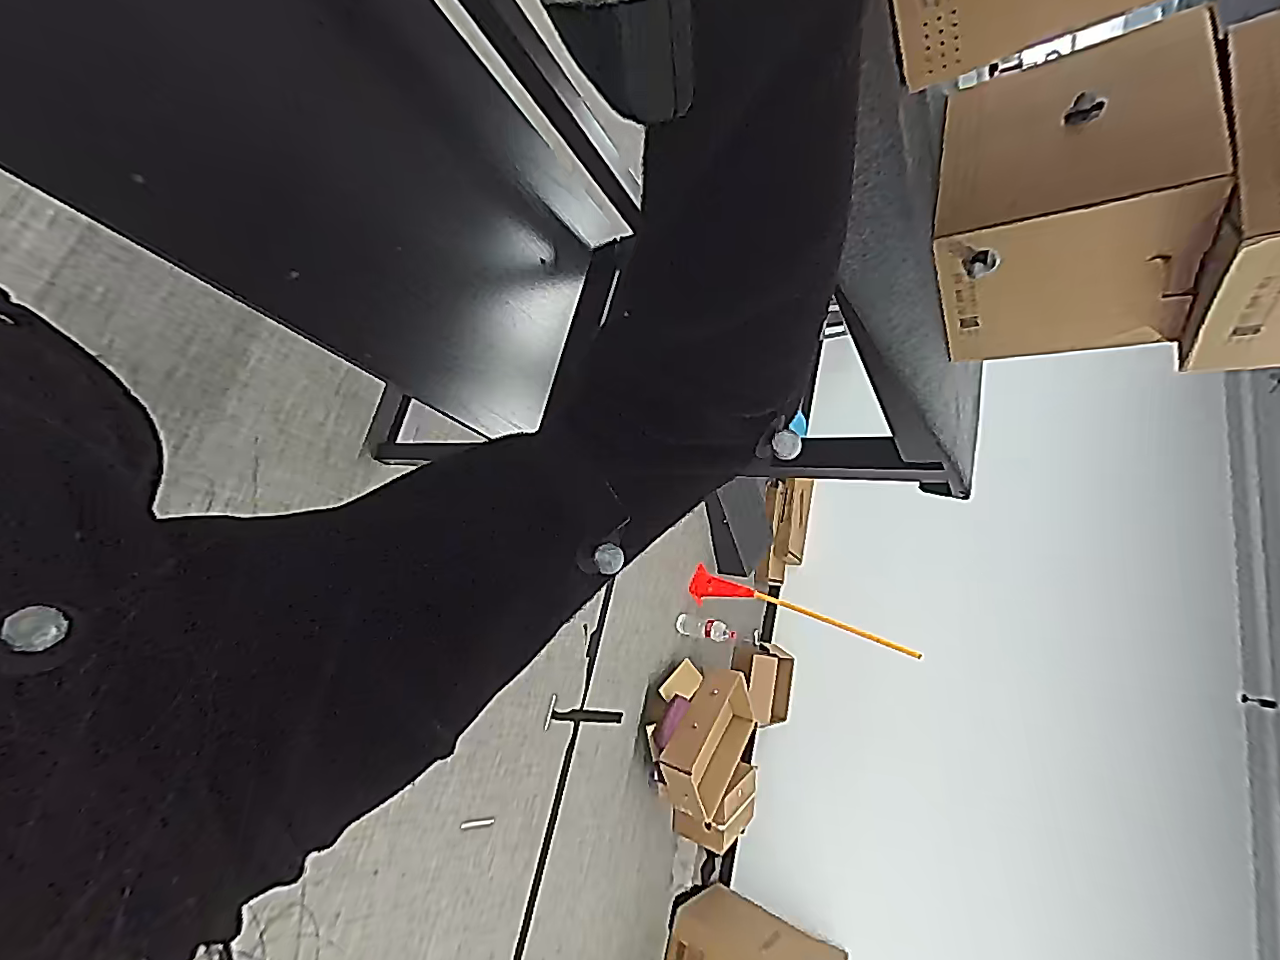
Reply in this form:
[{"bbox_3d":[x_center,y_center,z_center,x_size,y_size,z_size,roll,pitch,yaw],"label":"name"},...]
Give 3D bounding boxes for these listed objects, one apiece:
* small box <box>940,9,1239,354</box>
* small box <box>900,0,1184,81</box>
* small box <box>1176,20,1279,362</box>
[{"bbox_3d":[0.360,-0.228,0.464,0.168,0.176,0.179,40,58,-49],"label":"small box"},{"bbox_3d":[0.203,-0.331,0.231,0.168,0.176,0.179,35,62,-50],"label":"small box"},{"bbox_3d":[0.486,-0.195,0.362,0.168,0.176,0.179,32,65,-52],"label":"small box"}]
